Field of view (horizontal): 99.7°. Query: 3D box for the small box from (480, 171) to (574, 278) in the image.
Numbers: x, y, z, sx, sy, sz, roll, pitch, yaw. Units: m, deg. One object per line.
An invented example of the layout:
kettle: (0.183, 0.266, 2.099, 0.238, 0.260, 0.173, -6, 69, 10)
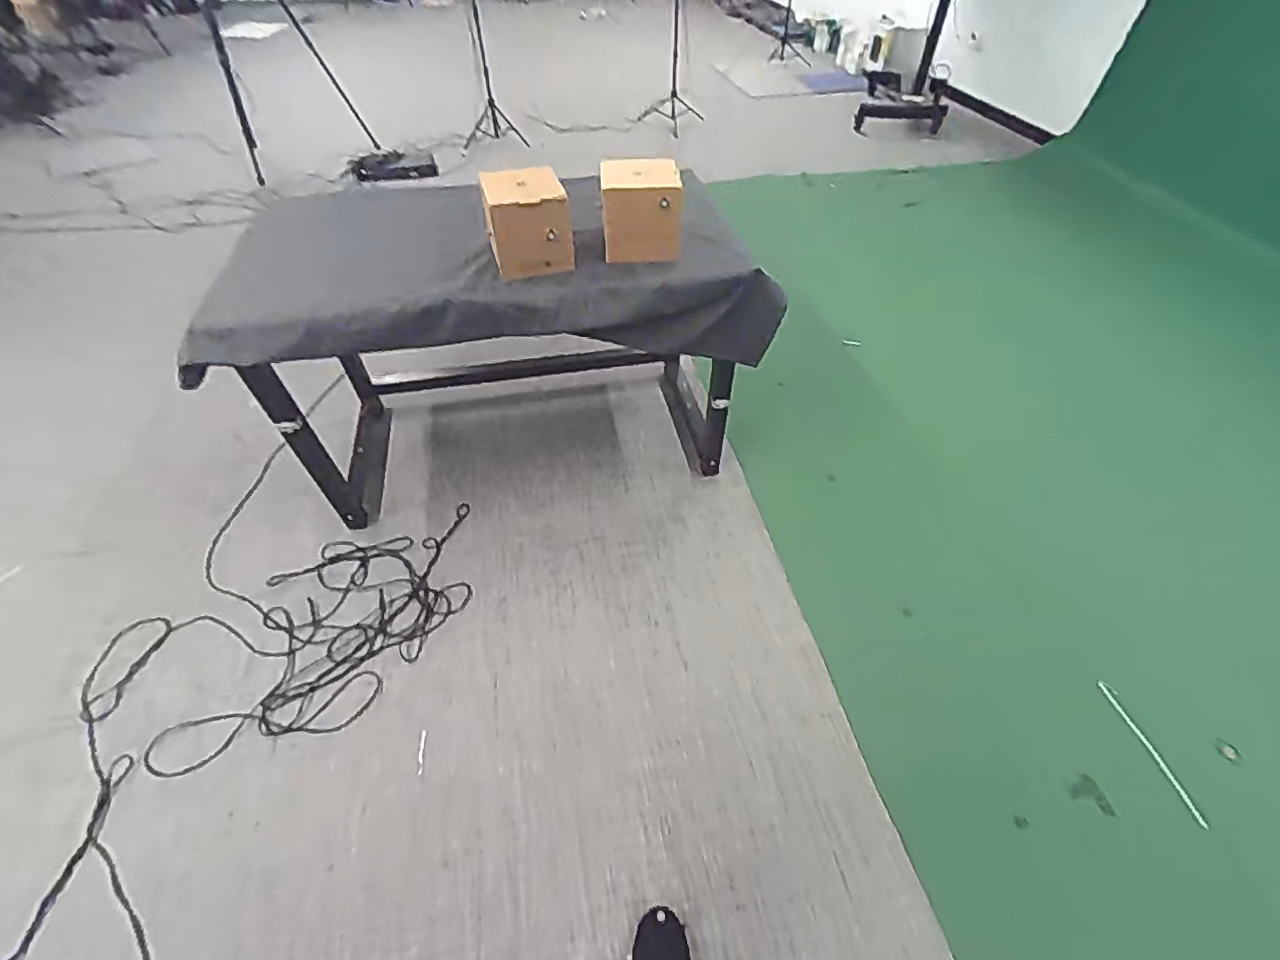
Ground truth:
small box: (-0.250, -0.568, 1.215, 0.168, 0.176, 0.179, -14, 49, -13)

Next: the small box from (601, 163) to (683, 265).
small box: (0.003, -0.614, 1.255, 0.179, 0.176, 0.168, -3, 49, -3)
